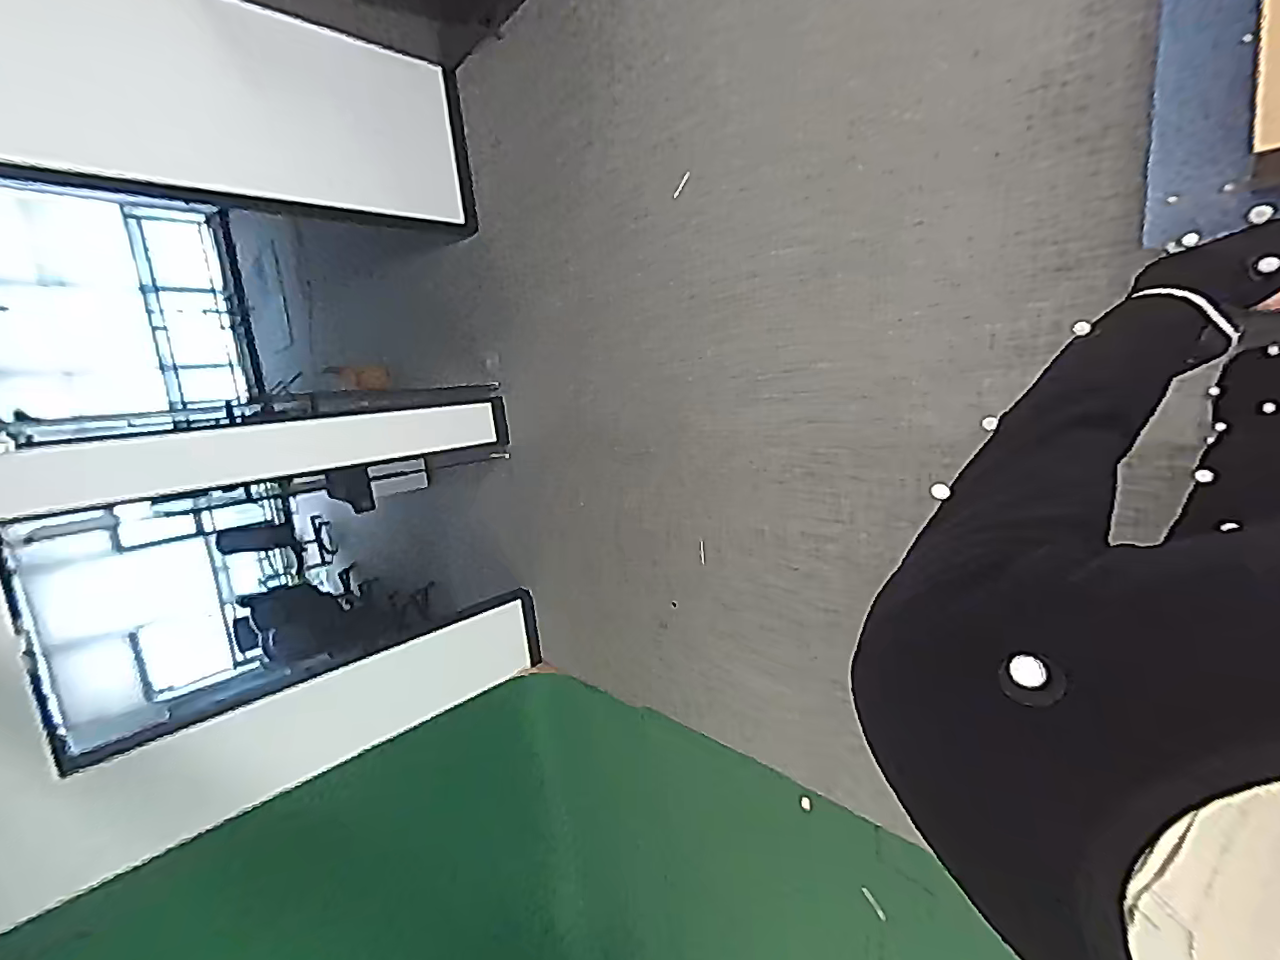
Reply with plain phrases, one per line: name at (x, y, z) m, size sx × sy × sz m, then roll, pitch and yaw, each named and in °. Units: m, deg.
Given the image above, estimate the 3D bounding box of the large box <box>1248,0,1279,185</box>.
large box at (1.024, -0.668, 0.695) m, size 0.320 × 0.320 × 0.408 m, roll 3°, pitch 103°, yaw 47°
